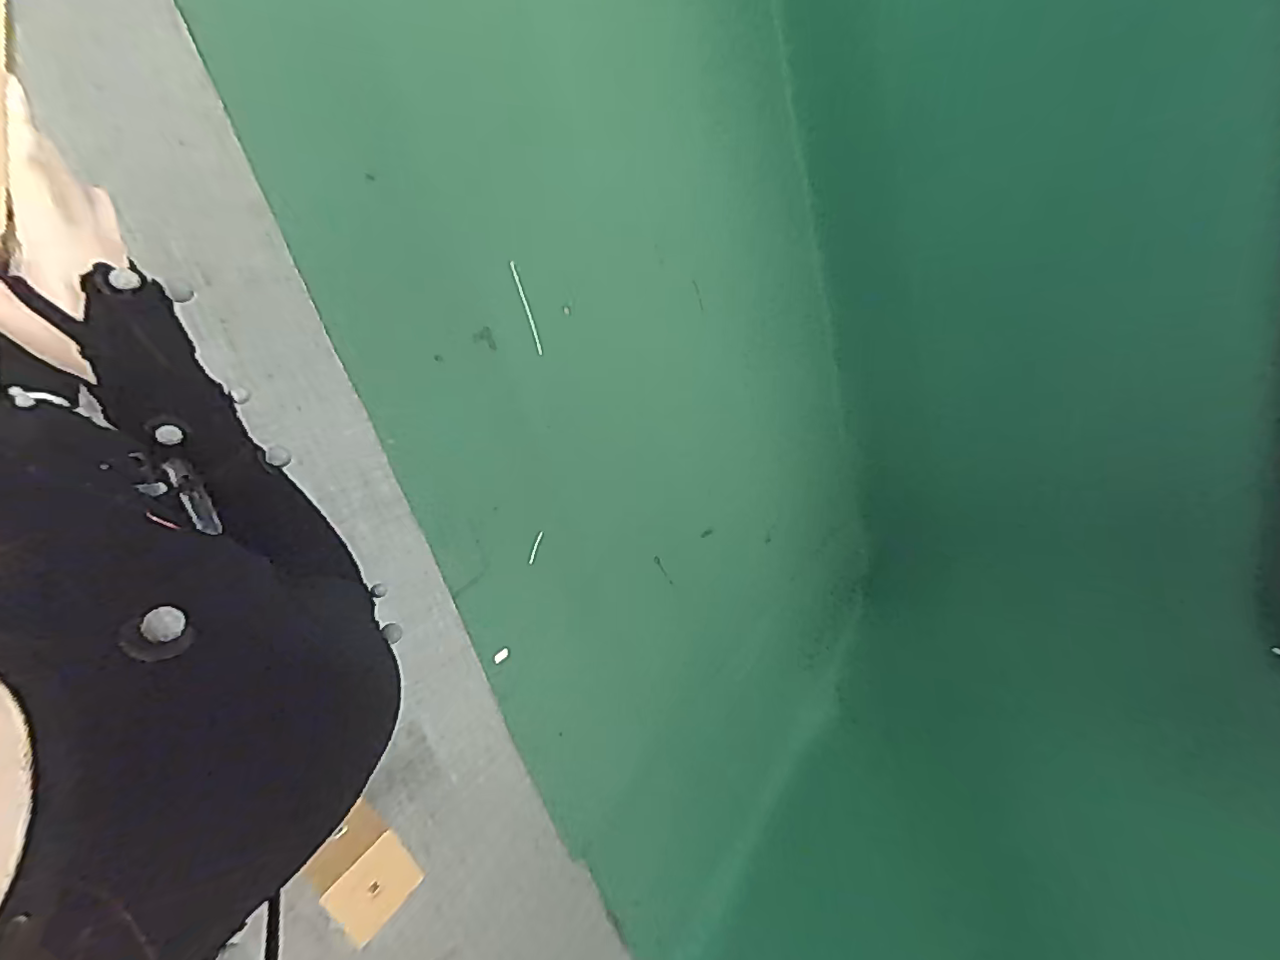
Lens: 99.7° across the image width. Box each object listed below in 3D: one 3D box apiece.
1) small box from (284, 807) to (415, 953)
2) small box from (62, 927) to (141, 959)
[{"bbox_3d":[-0.646,0.876,1.203,0.168,0.176,0.179,-39,120,-44],"label":"small box"},{"bbox_3d":[-1.030,1.002,1.007,0.168,0.176,0.179,-22,106,-47],"label":"small box"}]
